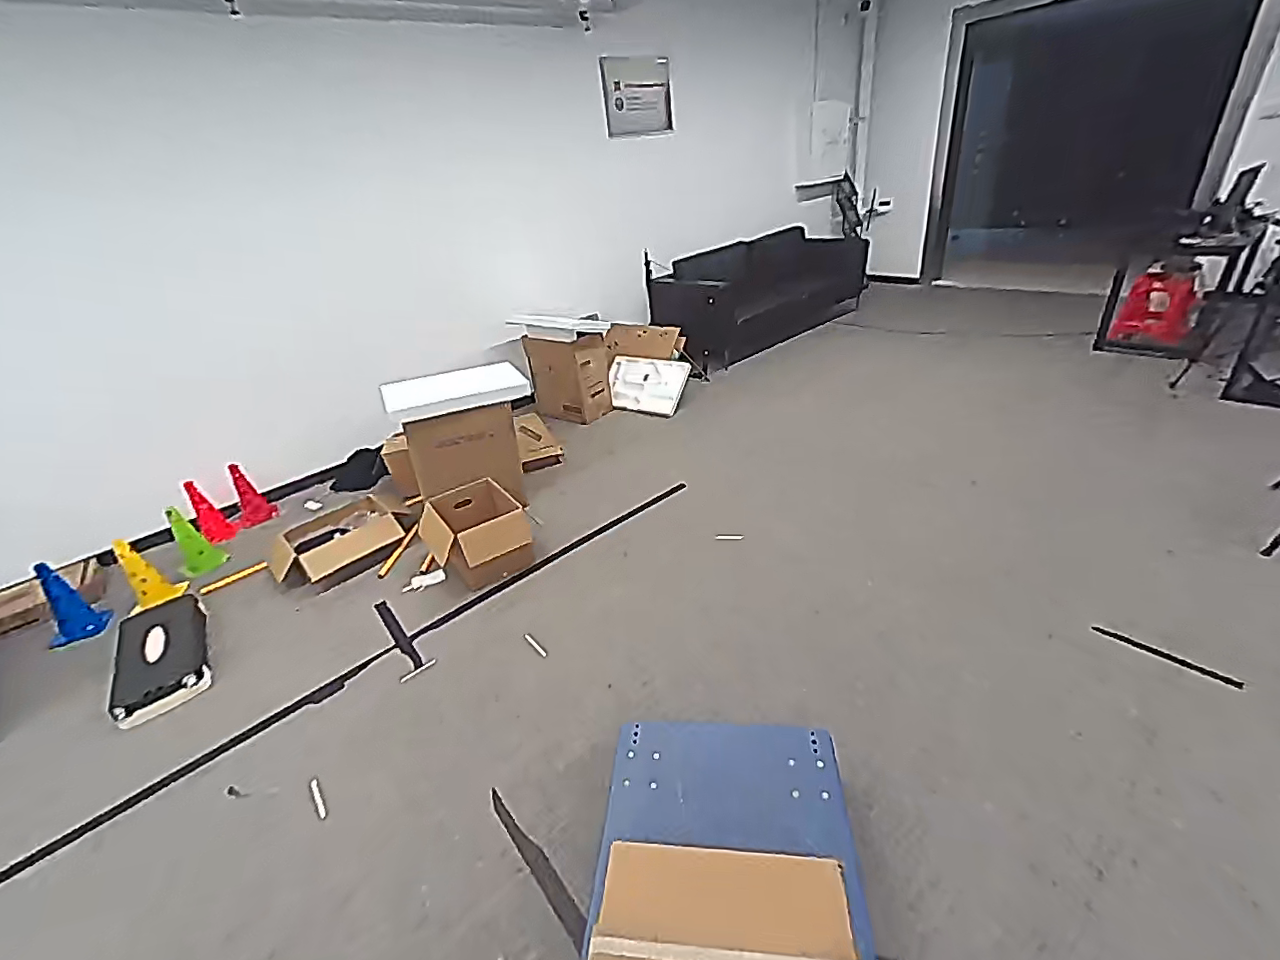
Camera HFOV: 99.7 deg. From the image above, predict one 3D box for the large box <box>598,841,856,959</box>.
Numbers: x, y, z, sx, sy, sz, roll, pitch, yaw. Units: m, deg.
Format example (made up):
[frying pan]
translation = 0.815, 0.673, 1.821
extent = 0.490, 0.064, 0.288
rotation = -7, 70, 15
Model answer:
[large box]
translation = 0.142, 0.866, 0.911
extent = 0.408, 0.320, 0.320
rotation = -1, 30, 8
